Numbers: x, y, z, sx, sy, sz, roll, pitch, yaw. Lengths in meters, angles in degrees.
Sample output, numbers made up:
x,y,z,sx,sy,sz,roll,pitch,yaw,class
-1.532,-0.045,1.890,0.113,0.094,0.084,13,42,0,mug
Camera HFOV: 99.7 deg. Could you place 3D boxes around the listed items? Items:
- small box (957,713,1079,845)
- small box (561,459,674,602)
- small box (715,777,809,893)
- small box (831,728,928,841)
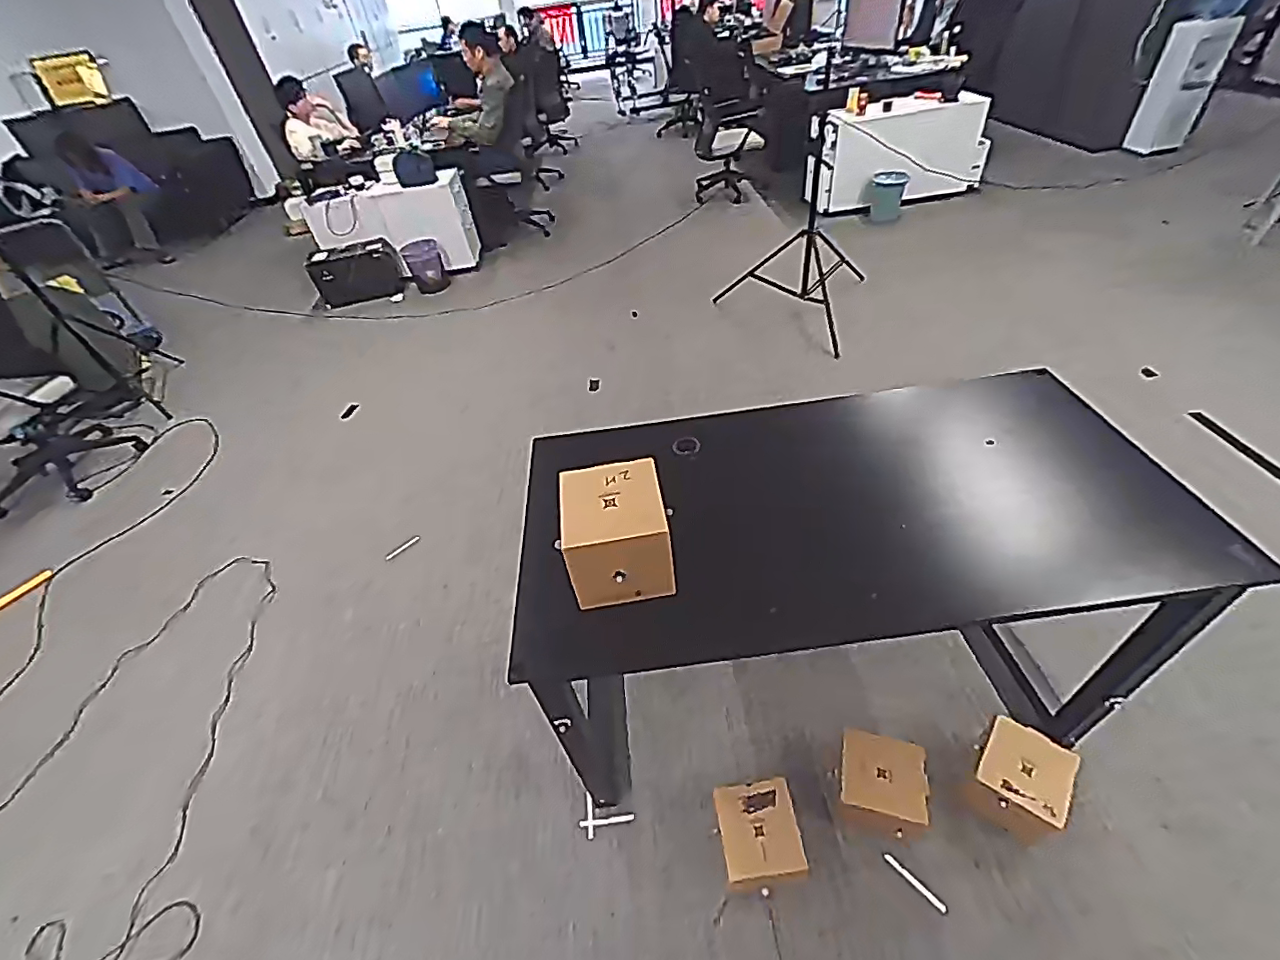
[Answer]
x,y,z,sx,sy,sz,roll,pitch,yaw,class
0.850,0.679,1.228,0.168,0.176,0.179,25,53,31,small box
-0.039,0.093,0.930,0.168,0.176,0.179,-9,43,-1,small box
0.263,0.794,1.210,0.168,0.176,0.179,-9,45,1,small box
0.549,0.708,1.253,0.179,0.176,0.168,6,45,17,small box
